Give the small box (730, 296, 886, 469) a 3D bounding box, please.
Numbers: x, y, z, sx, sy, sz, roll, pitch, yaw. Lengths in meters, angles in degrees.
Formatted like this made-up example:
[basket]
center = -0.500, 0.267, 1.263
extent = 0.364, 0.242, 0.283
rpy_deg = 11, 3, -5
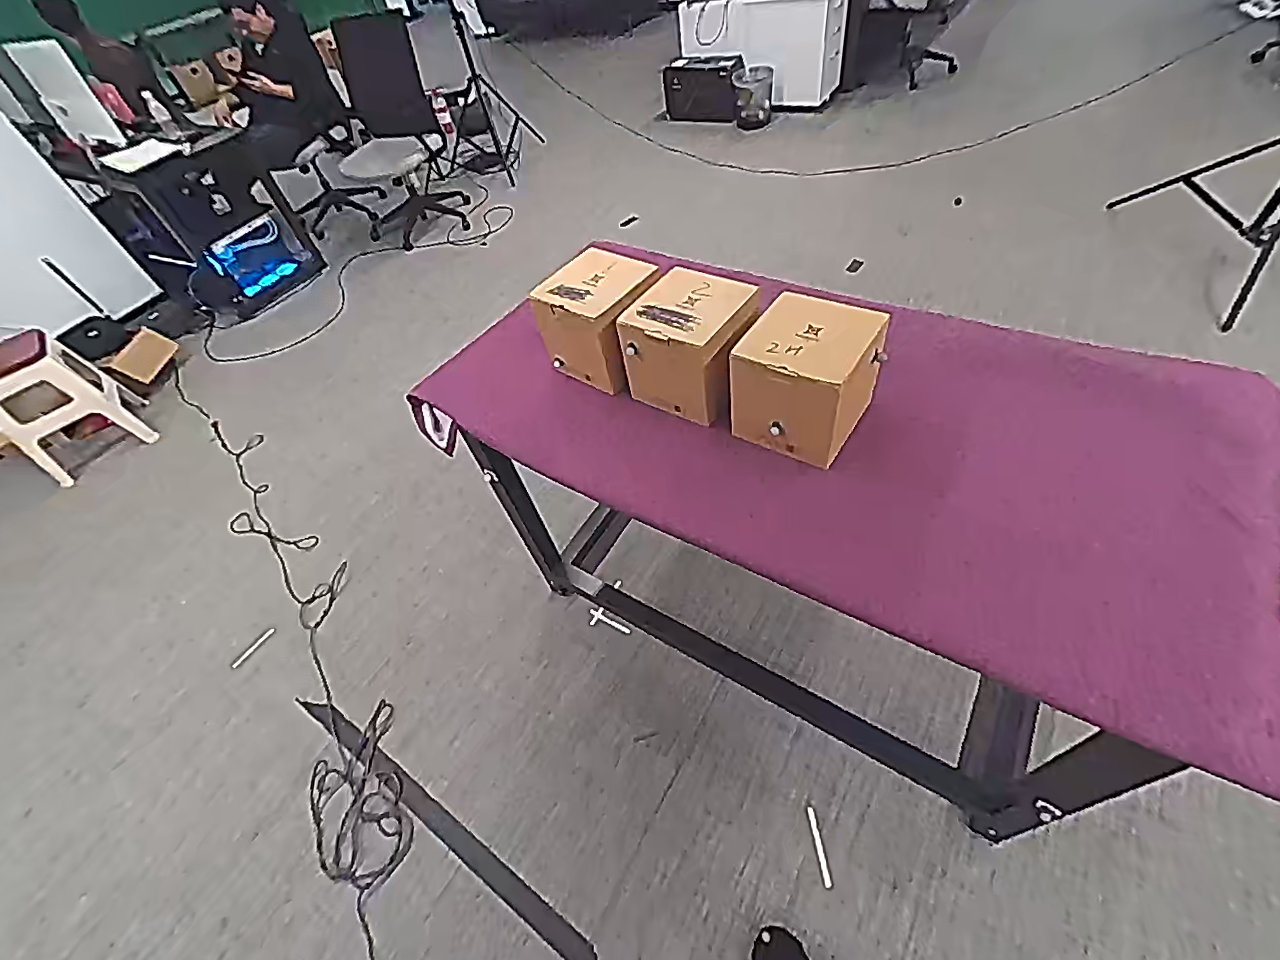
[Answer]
[small box]
center = 0.251, -0.150, 0.831
extent = 0.168, 0.176, 0.179
rpy_deg = 24, 59, 29
